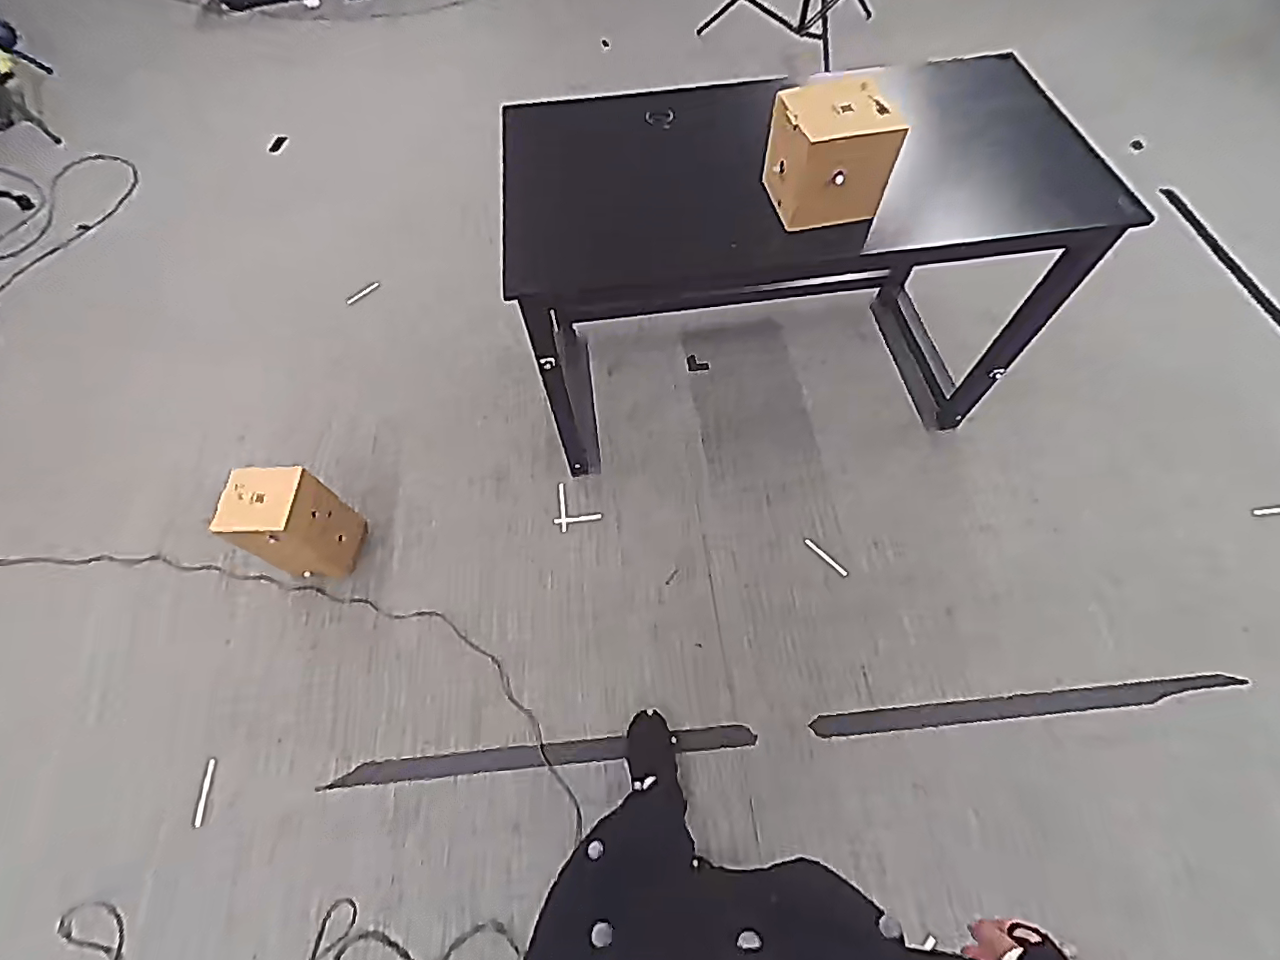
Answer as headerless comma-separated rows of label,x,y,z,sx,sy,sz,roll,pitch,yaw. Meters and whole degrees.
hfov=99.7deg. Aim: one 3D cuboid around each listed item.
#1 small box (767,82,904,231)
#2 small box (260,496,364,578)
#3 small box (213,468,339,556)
small box,0.343,-0.587,0.995,0.179,0.176,0.168,-11,62,-3
small box,-0.885,0.155,1.477,0.168,0.176,0.179,1,63,3
small box,-0.880,0.083,1.328,0.179,0.176,0.168,-2,61,2
